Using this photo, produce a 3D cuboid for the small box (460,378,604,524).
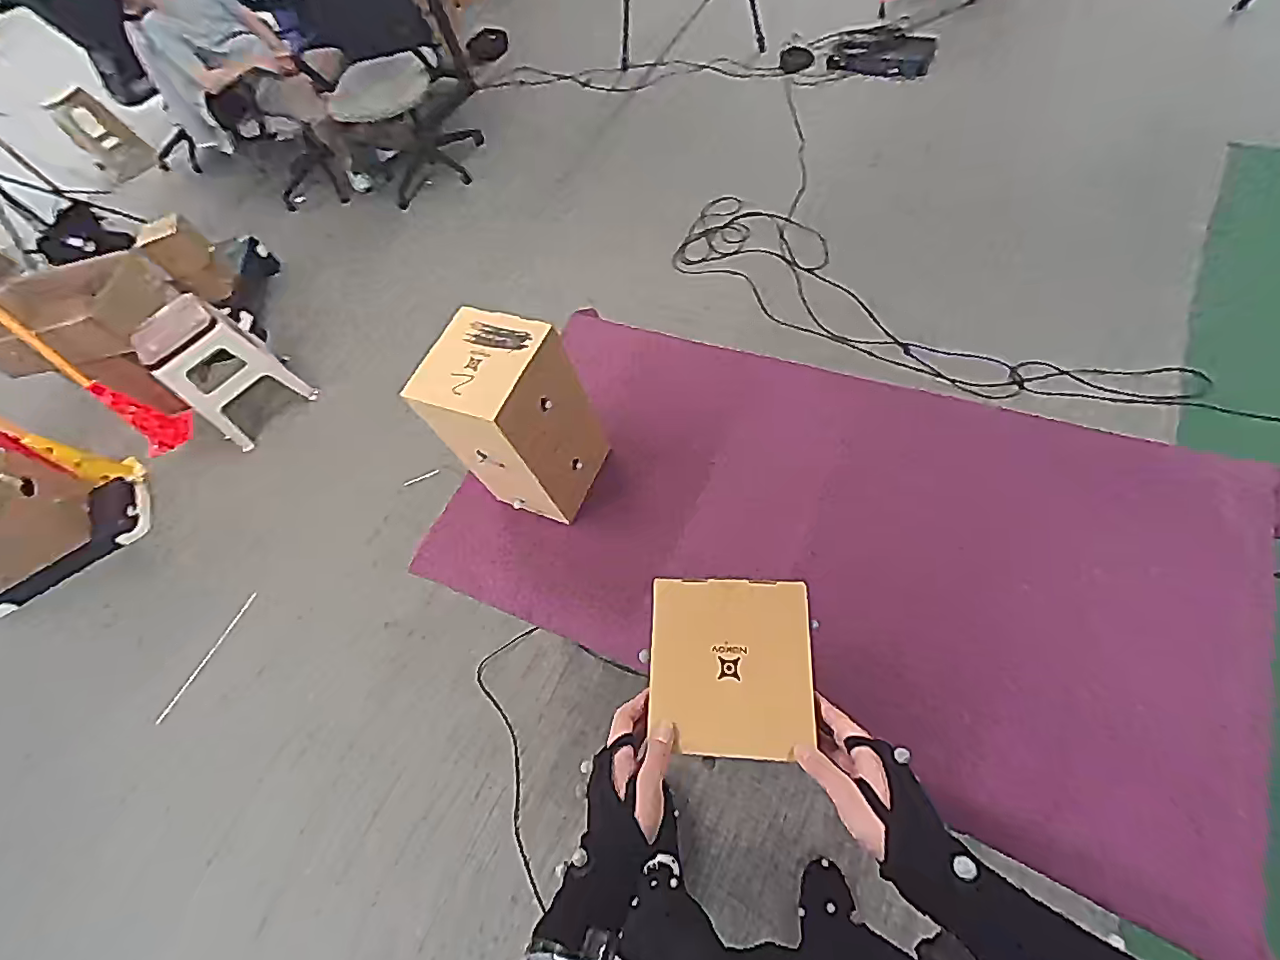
[{"bbox_3d":[-0.178,-0.049,0.964,0.168,0.176,0.179,17,66,21],"label":"small box"}]
